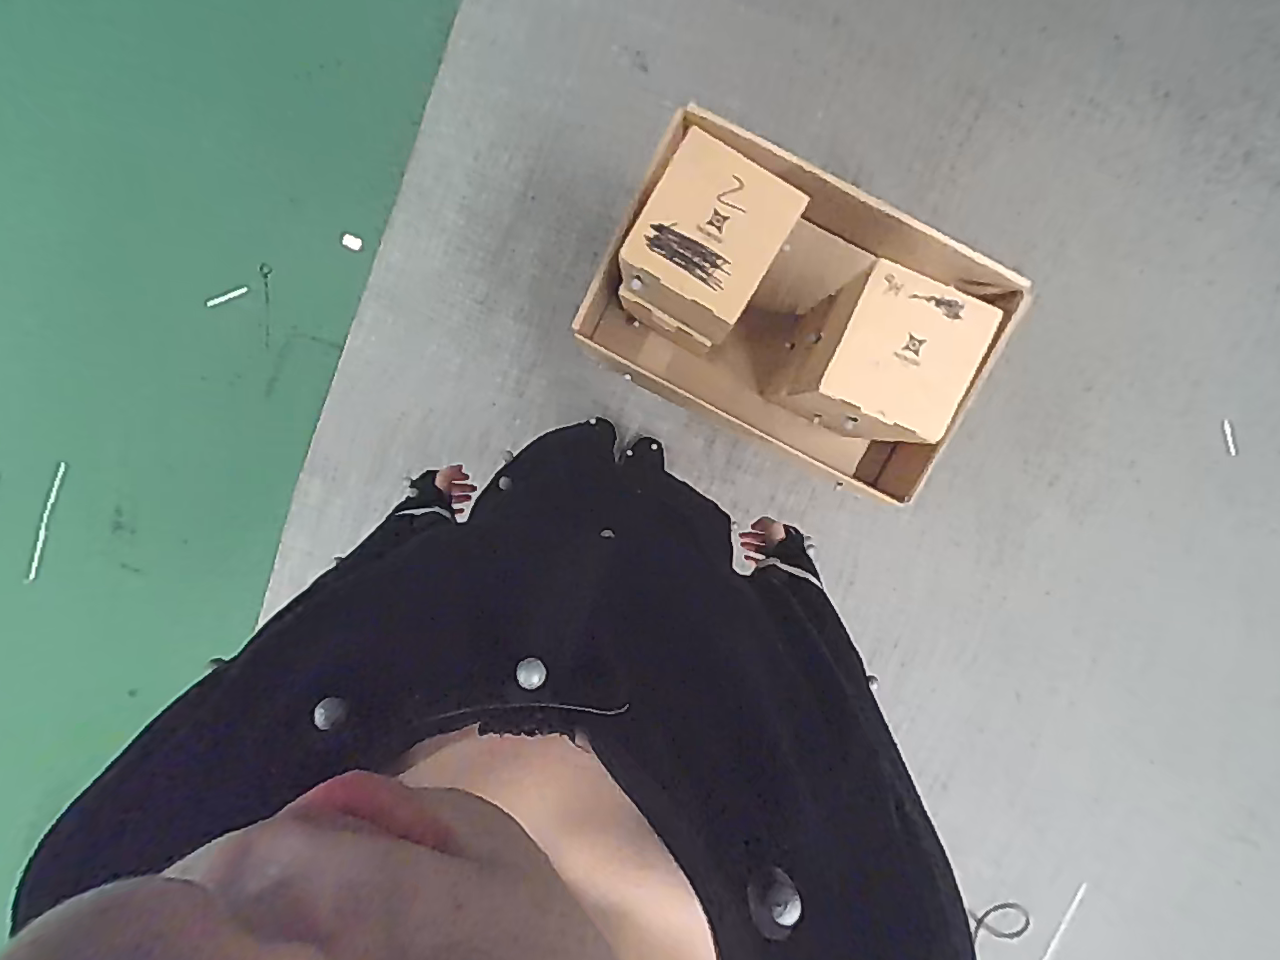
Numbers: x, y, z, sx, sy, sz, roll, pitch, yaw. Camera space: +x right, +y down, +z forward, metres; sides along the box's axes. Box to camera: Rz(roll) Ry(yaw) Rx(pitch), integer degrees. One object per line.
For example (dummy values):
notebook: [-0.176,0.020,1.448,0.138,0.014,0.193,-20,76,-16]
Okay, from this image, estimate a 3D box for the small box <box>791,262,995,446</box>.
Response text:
small box: [0.326,-0.162,0.741,0.168,0.176,0.179,25,97,-2]
